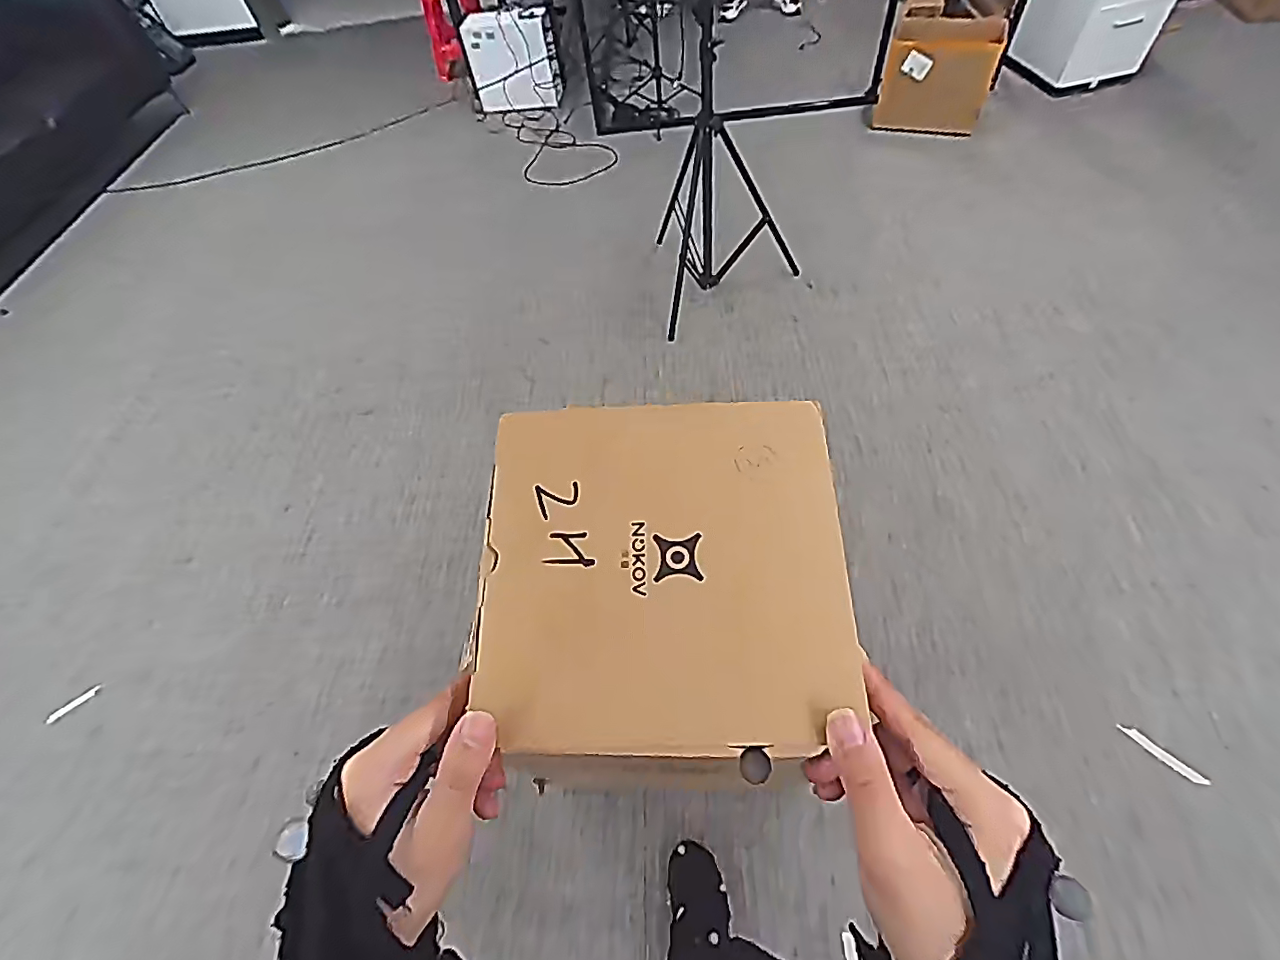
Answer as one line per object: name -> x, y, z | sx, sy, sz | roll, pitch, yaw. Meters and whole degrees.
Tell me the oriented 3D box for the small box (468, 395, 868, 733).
small box -> 0.015, 0.062, 0.335 | 0.179, 0.176, 0.168 | -2, 67, 3
